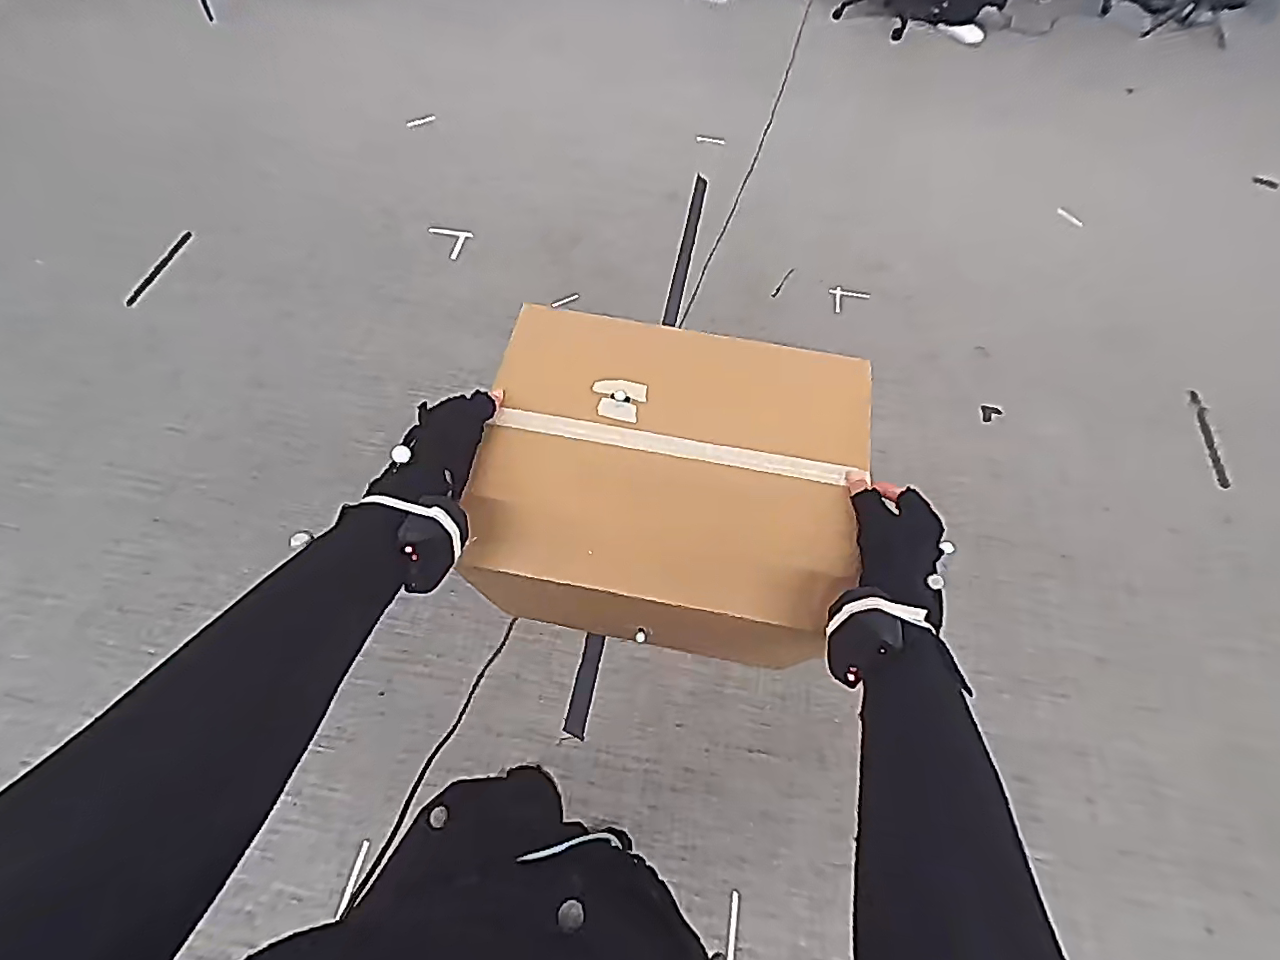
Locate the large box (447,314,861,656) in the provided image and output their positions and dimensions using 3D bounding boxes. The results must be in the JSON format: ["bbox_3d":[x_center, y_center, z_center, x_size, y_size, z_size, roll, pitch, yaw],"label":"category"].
[{"bbox_3d":[0.033,0.029,0.707,0.408,0.320,0.320,10,66,4],"label":"large box"}]
